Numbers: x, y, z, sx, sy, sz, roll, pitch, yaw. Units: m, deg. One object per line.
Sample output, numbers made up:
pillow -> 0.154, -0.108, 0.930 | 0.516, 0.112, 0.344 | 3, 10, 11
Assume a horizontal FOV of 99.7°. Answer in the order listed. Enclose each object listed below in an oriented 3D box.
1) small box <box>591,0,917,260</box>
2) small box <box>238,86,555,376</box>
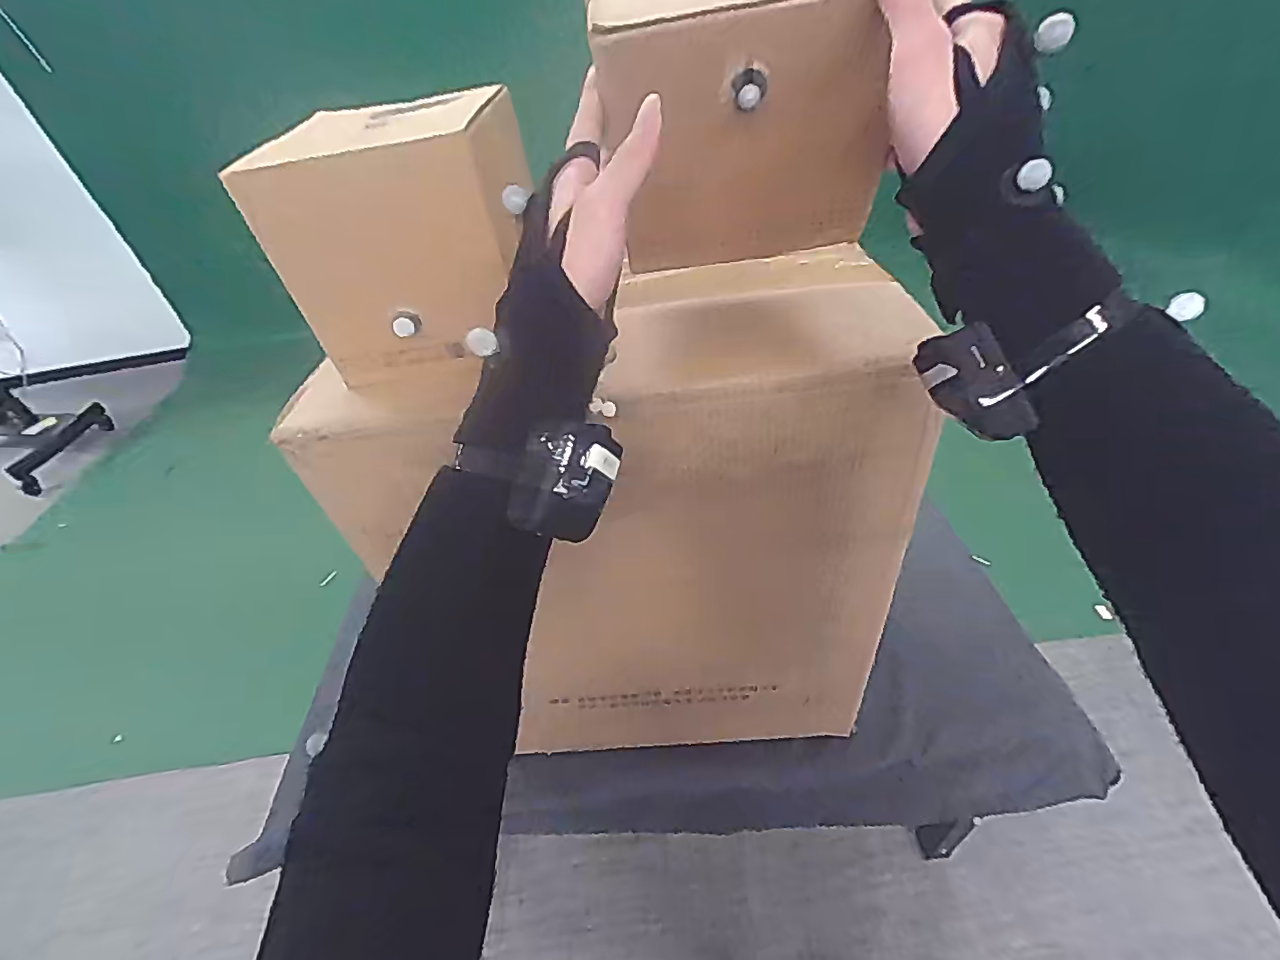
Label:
small box -> 0.066, -0.280, 0.382 | 0.179, 0.176, 0.168 | -5, 65, 4
small box -> -0.175, -0.211, 0.462 | 0.168, 0.176, 0.179 | -7, 44, 5
